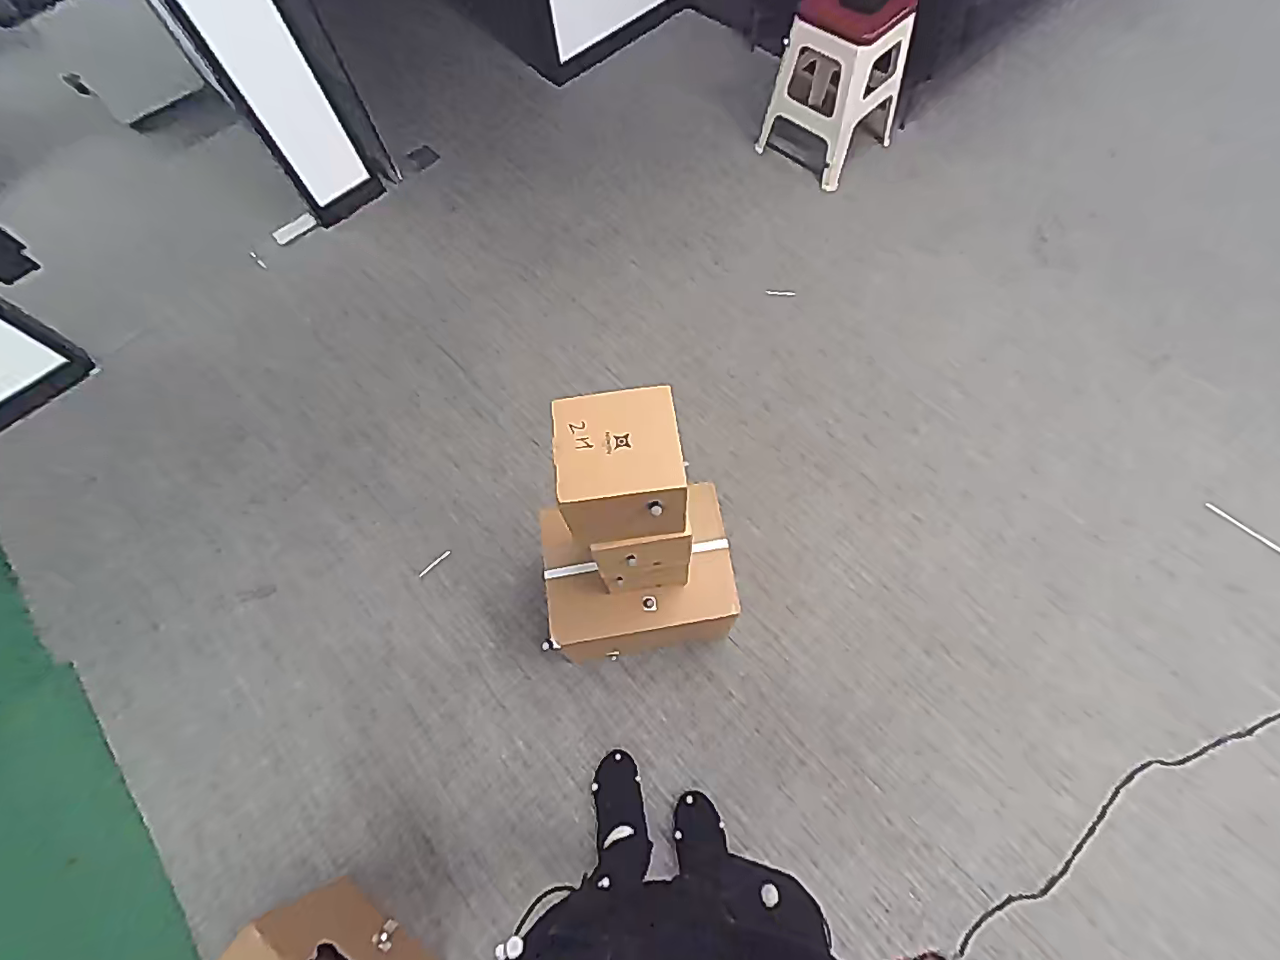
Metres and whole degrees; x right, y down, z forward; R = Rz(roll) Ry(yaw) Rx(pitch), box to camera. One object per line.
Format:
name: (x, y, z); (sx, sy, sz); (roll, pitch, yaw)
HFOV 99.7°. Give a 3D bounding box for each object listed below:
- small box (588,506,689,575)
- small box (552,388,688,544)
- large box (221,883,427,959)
small box: (-0.006, 0.061, 0.955); (0.168, 0.176, 0.179); (-9, 63, 0)
small box: (-0.028, -0.015, 0.810); (0.179, 0.176, 0.168); (-8, 63, 0)
large box: (-0.653, 1.063, 0.977); (0.320, 0.320, 0.408); (29, 71, 17)
